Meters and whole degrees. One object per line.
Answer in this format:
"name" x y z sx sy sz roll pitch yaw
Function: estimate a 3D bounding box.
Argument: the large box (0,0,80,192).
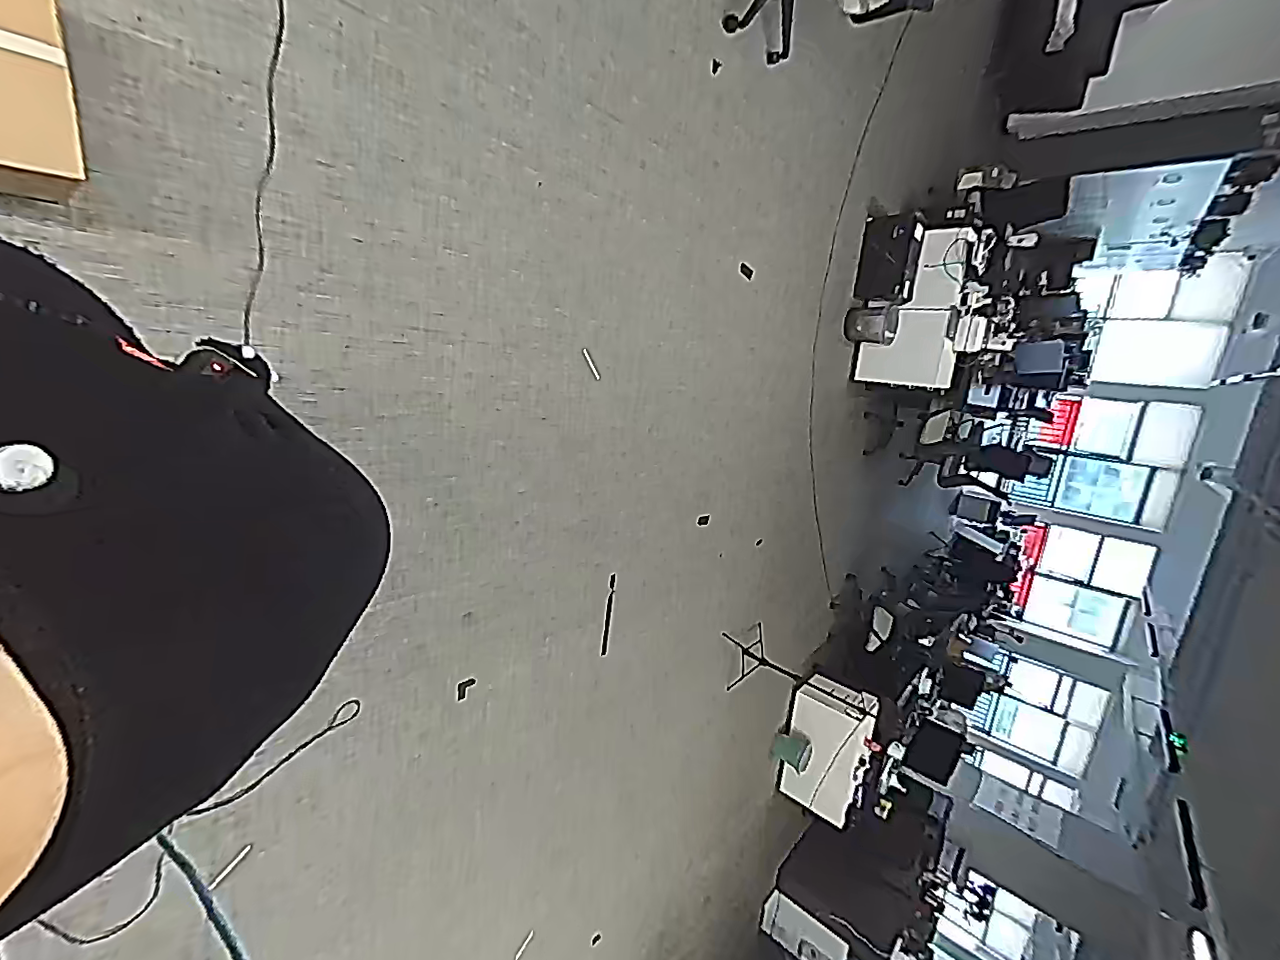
"large box" -1.072 -0.611 0.716 0.408 0.320 0.320 -13 113 -49
